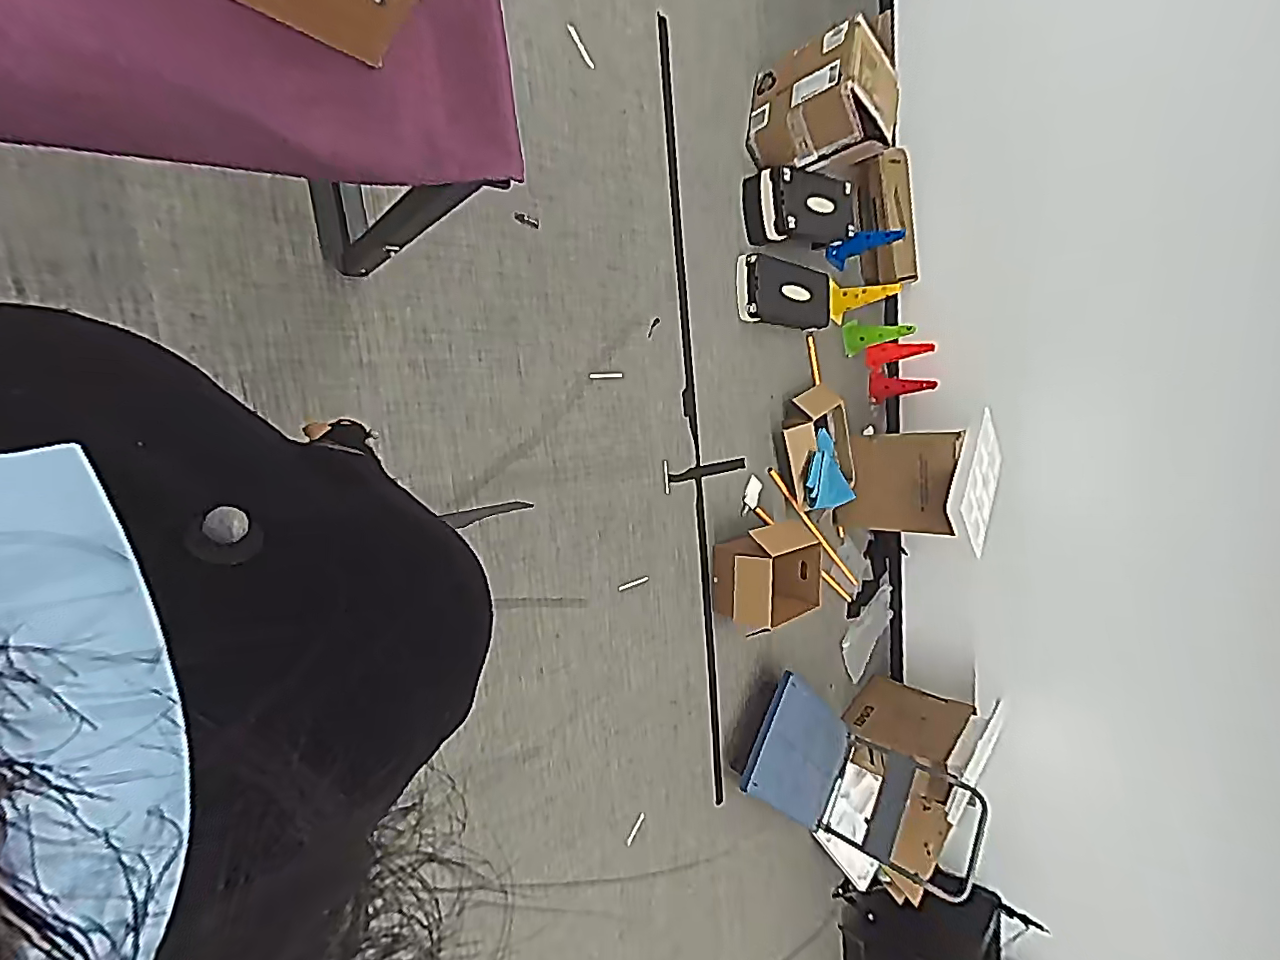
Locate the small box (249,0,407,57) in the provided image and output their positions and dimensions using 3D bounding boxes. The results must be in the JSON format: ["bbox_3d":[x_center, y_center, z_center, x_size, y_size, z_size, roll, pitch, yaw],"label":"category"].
[{"bbox_3d":[-0.359,-0.630,0.605,0.179,0.176,0.168,0,93,-42],"label":"small box"}]
